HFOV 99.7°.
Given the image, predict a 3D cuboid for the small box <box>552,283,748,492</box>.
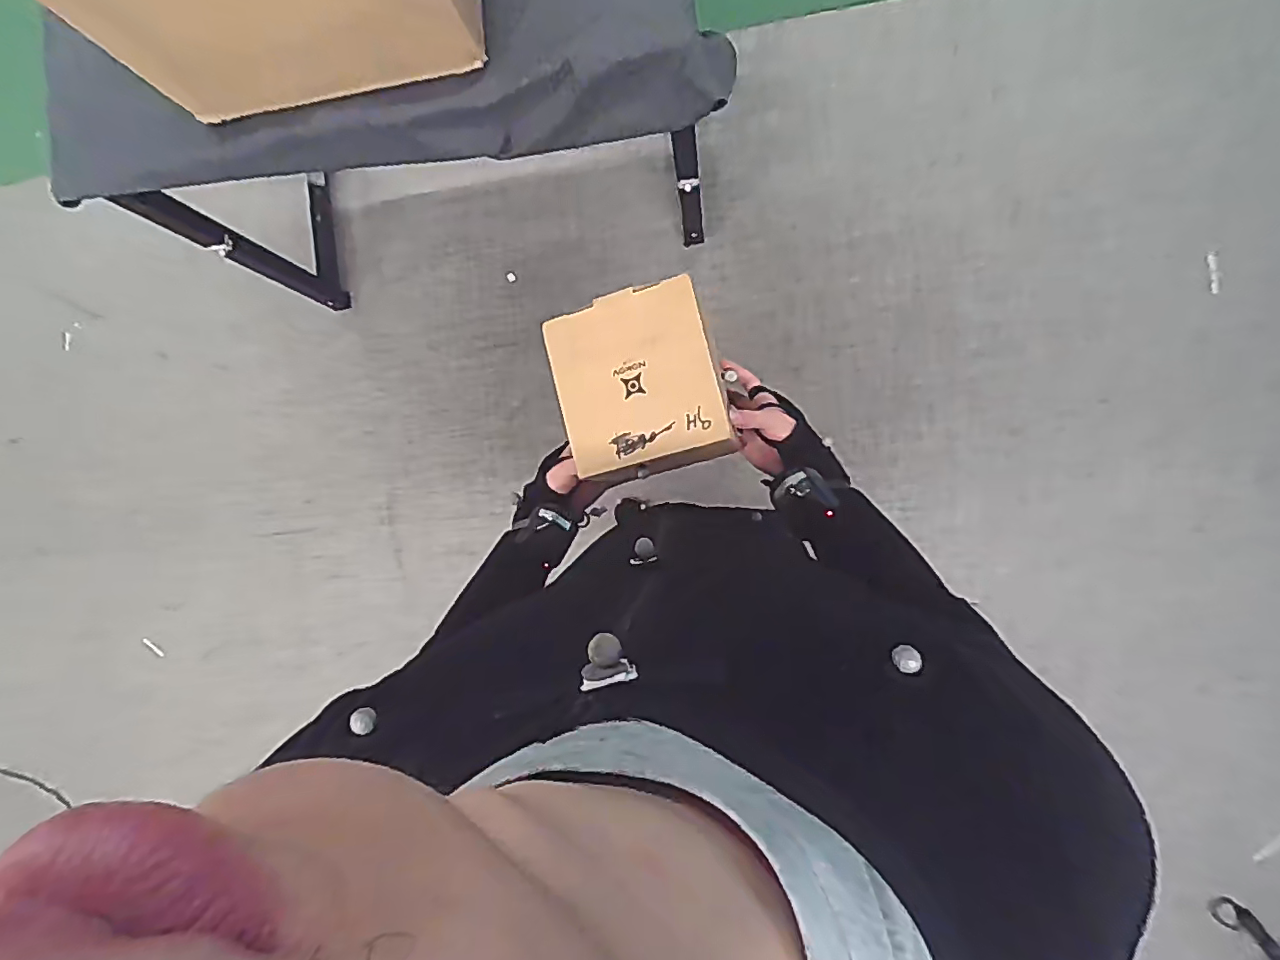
[{"bbox_3d":[0.021,-0.091,0.629,0.168,0.176,0.179,-17,83,14],"label":"small box"}]
